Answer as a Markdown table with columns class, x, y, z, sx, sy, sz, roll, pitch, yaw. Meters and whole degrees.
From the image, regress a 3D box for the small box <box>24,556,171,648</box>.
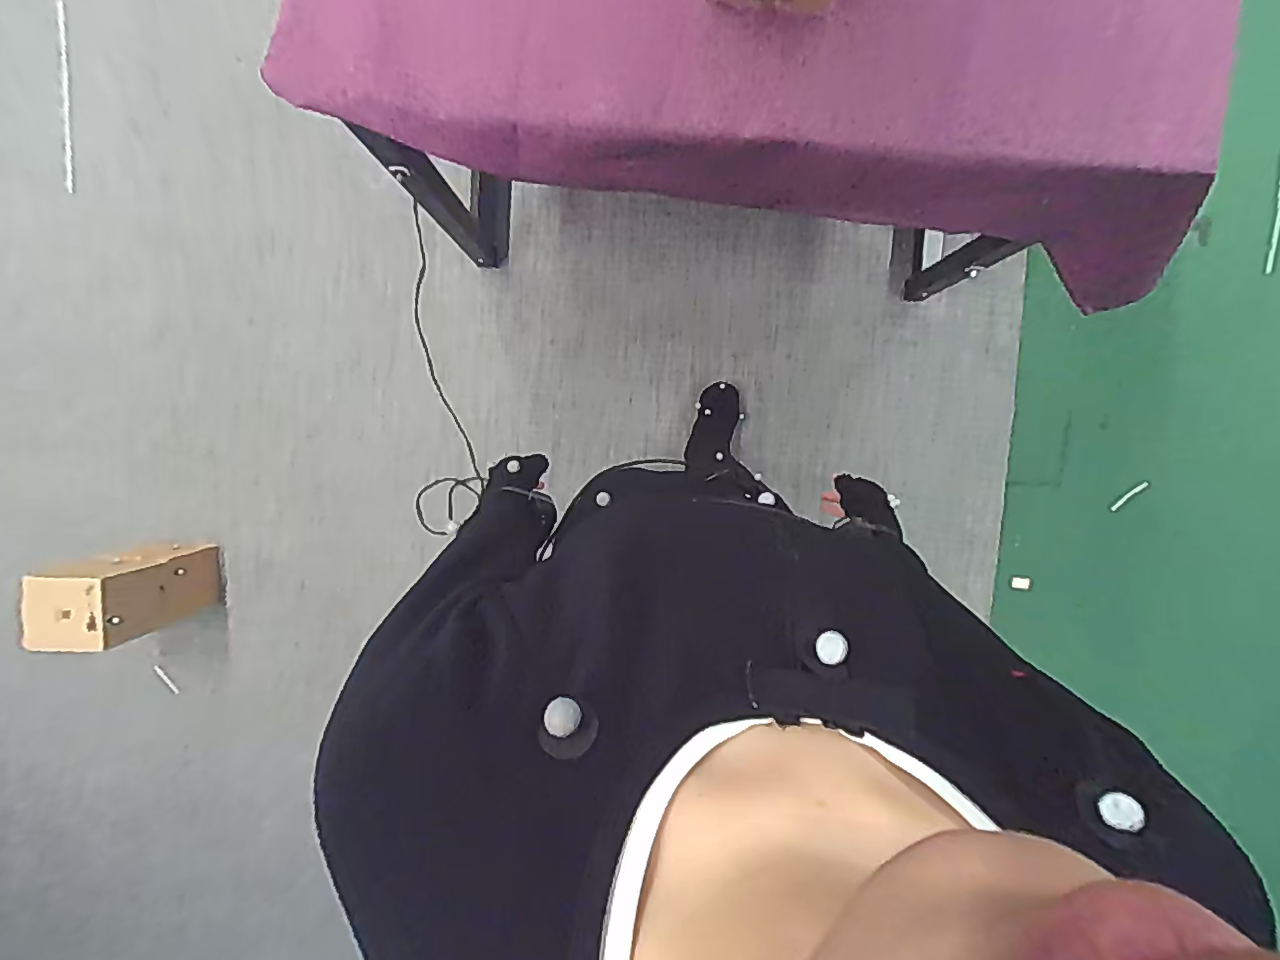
| class | x | y | z | sx | sy | sz | roll | pitch | yaw |
| --- | --- | --- | --- | --- | --- | --- | --- | --- | --- |
| small box | -1.238 | 0.273 | 1.243 | 0.179 | 0.176 | 0.168 | 2 | 94 | 1 |

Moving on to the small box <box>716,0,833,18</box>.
| class | x | y | z | sx | sy | sz | roll | pitch | yaw |
| --- | --- | --- | --- | --- | --- | --- | --- | --- | --- |
| small box | 0.175 | -0.688 | 0.612 | 0.168 | 0.176 | 0.179 | 8 | 94 | 0 |

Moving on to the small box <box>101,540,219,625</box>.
| class | x | y | z | sx | sy | sz | roll | pitch | yaw |
| --- | --- | --- | --- | --- | --- | --- | --- | --- | --- |
| small box | -1.239 | 0.262 | 1.407 | 0.168 | 0.176 | 0.179 | 2 | 94 | 0 |
